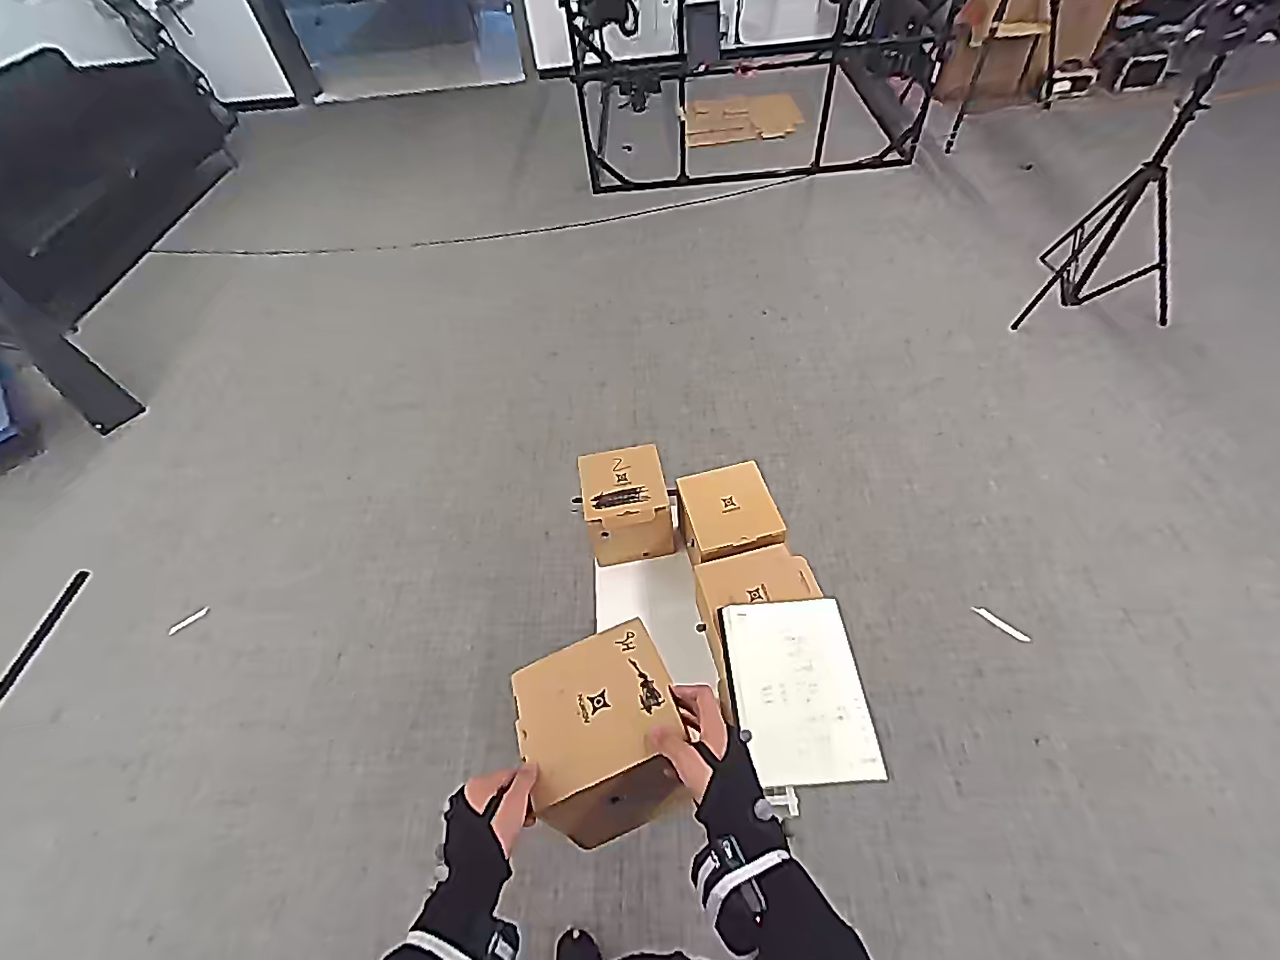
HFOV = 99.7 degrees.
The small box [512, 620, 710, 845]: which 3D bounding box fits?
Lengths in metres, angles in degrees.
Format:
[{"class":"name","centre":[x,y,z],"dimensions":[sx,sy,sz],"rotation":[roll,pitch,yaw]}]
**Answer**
[{"class":"small box","centre":[-0.034,0.311,0.662],"dimensions":[0.179,0.176,0.168],"rotation":[-24,43,-3]}]
